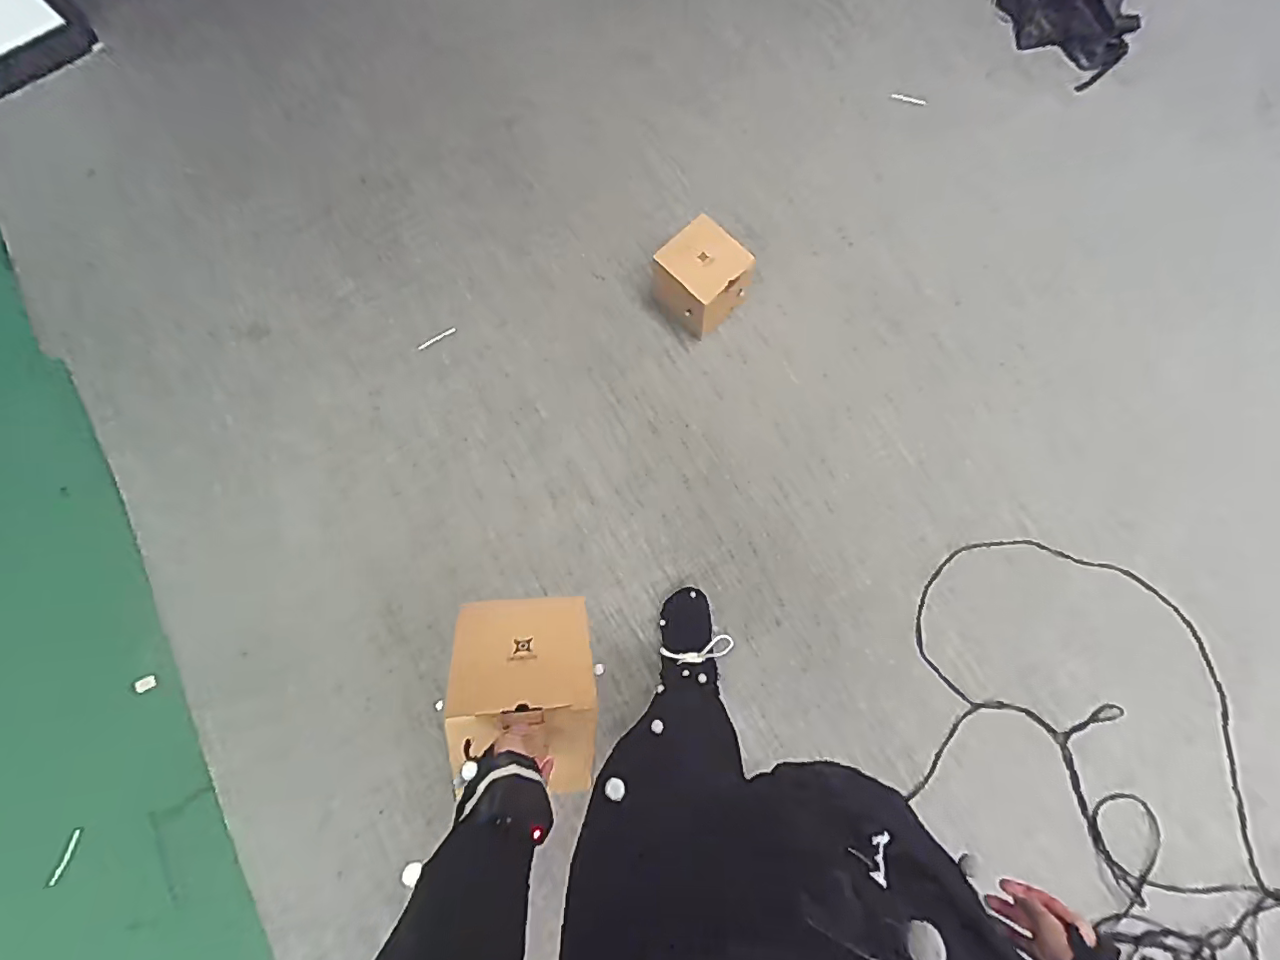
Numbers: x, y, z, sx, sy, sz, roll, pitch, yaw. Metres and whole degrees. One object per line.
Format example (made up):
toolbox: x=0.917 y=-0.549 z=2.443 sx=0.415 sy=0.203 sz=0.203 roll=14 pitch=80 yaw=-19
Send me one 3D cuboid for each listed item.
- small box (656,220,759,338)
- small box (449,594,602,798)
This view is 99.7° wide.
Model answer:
small box: x=0.157 y=-0.468 z=1.293 sx=0.168 sy=0.176 sz=0.179 roll=-43 pitch=78 yaw=-8
small box: x=-0.144 y=0.269 z=0.694 sx=0.168 sy=0.179 sz=0.176 roll=0 pitch=121 yaw=-11
